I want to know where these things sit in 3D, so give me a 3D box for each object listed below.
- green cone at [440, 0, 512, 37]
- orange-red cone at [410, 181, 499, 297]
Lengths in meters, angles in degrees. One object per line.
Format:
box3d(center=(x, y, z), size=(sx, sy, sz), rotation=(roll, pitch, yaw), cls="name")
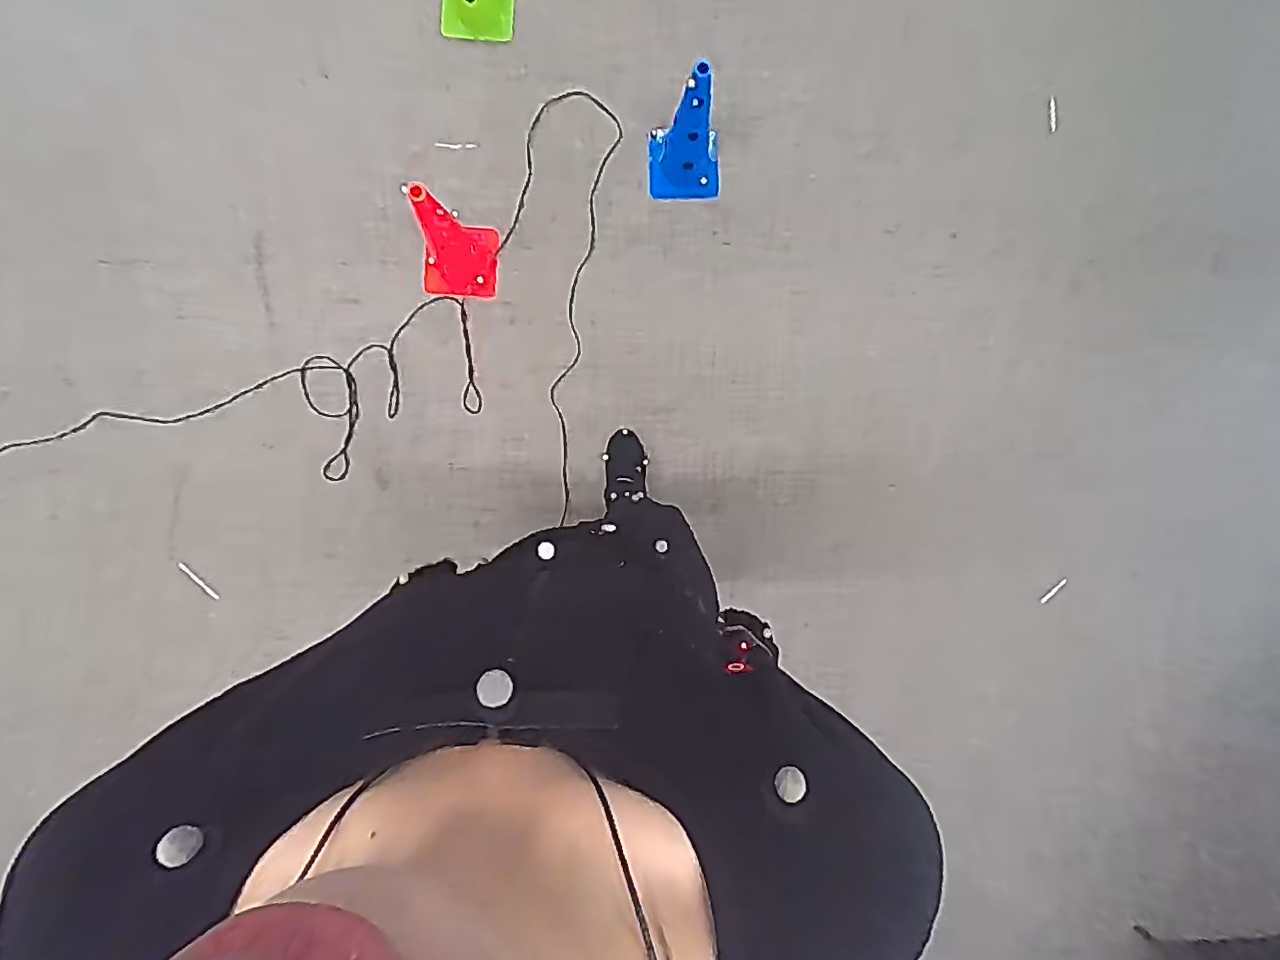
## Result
box3d(center=(-0.453, -1.351, 1.346), size=(0.200, 0.368, 0.202), rotation=(2, 90, -2), cls="green cone")
box3d(center=(-0.487, -0.620, 1.333), size=(0.198, 0.360, 0.199), rotation=(4, 87, -3), cls="orange-red cone")
